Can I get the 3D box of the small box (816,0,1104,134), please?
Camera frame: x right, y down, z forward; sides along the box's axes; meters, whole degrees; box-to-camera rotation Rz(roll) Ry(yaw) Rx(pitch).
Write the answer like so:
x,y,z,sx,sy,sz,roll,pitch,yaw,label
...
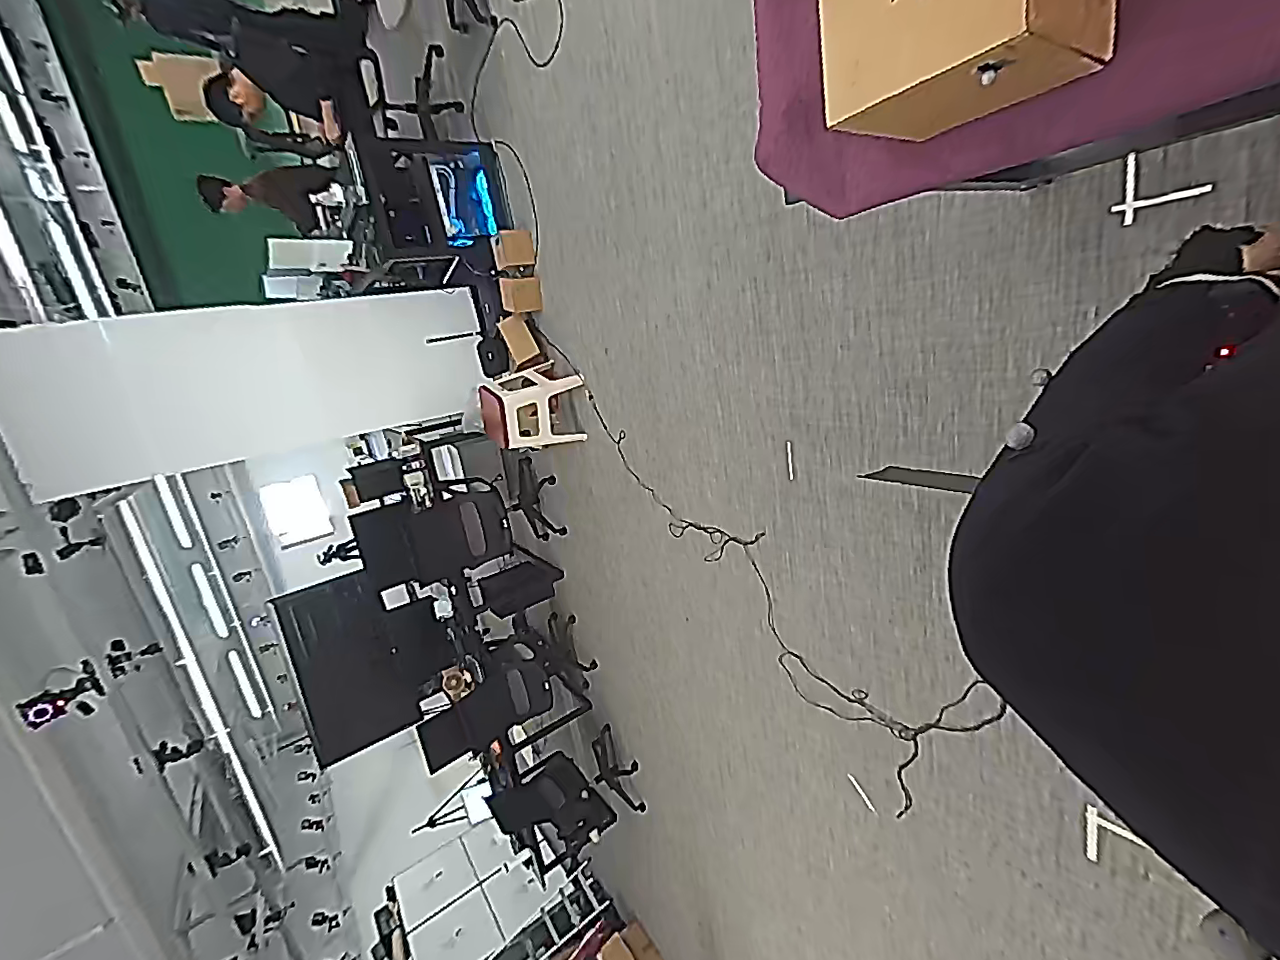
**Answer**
x,y,z,sx,sy,sz,roll,pitch,yaw,label
0.287,-0.441,0.493,0.179,0.176,0.168,11,114,55,small box
